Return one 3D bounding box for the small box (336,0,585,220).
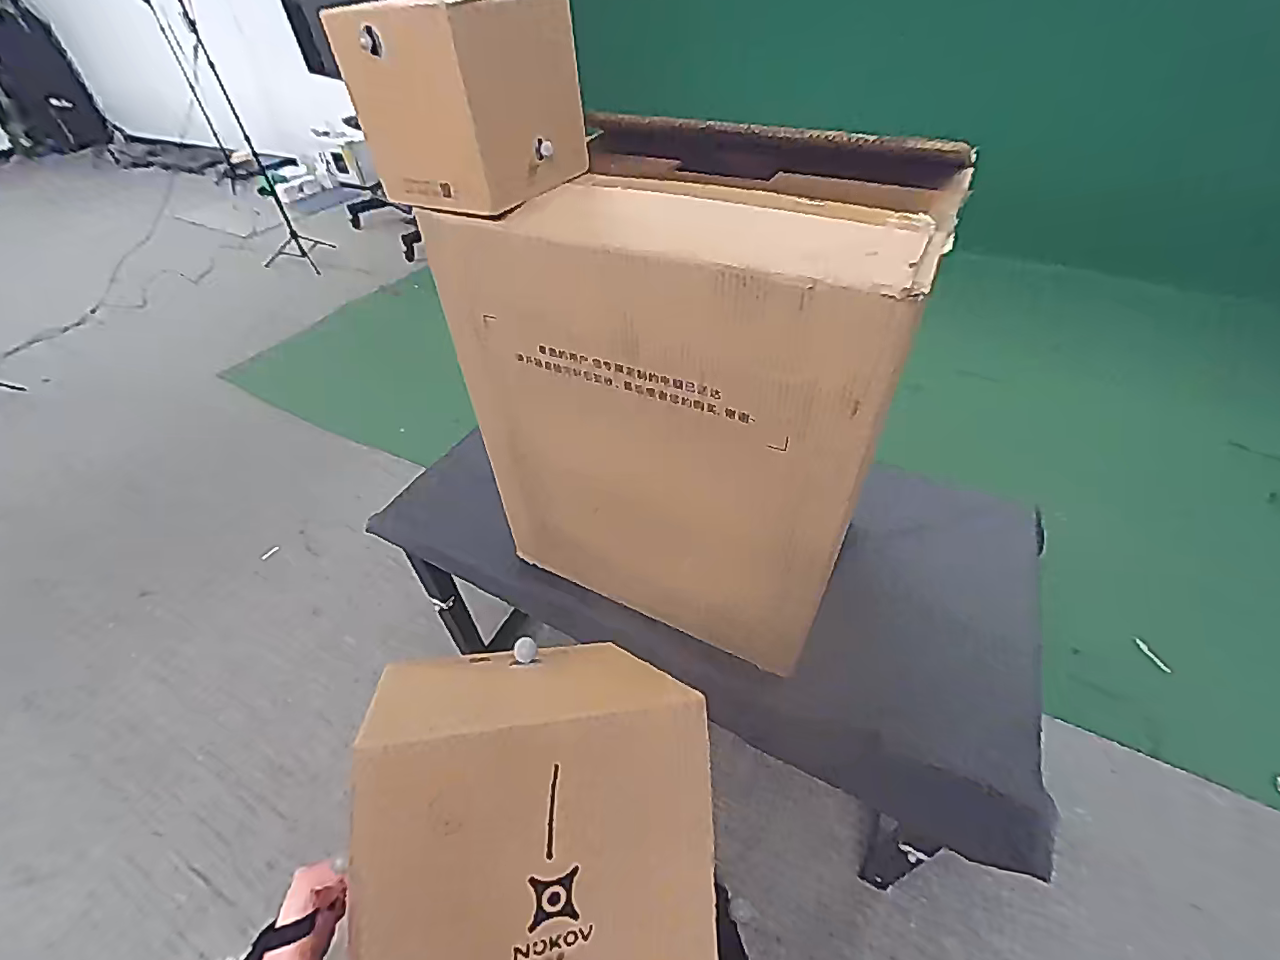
[{"bbox_3d":[-0.174,-0.402,0.585,0.168,0.176,0.179,19,48,25],"label":"small box"}]
